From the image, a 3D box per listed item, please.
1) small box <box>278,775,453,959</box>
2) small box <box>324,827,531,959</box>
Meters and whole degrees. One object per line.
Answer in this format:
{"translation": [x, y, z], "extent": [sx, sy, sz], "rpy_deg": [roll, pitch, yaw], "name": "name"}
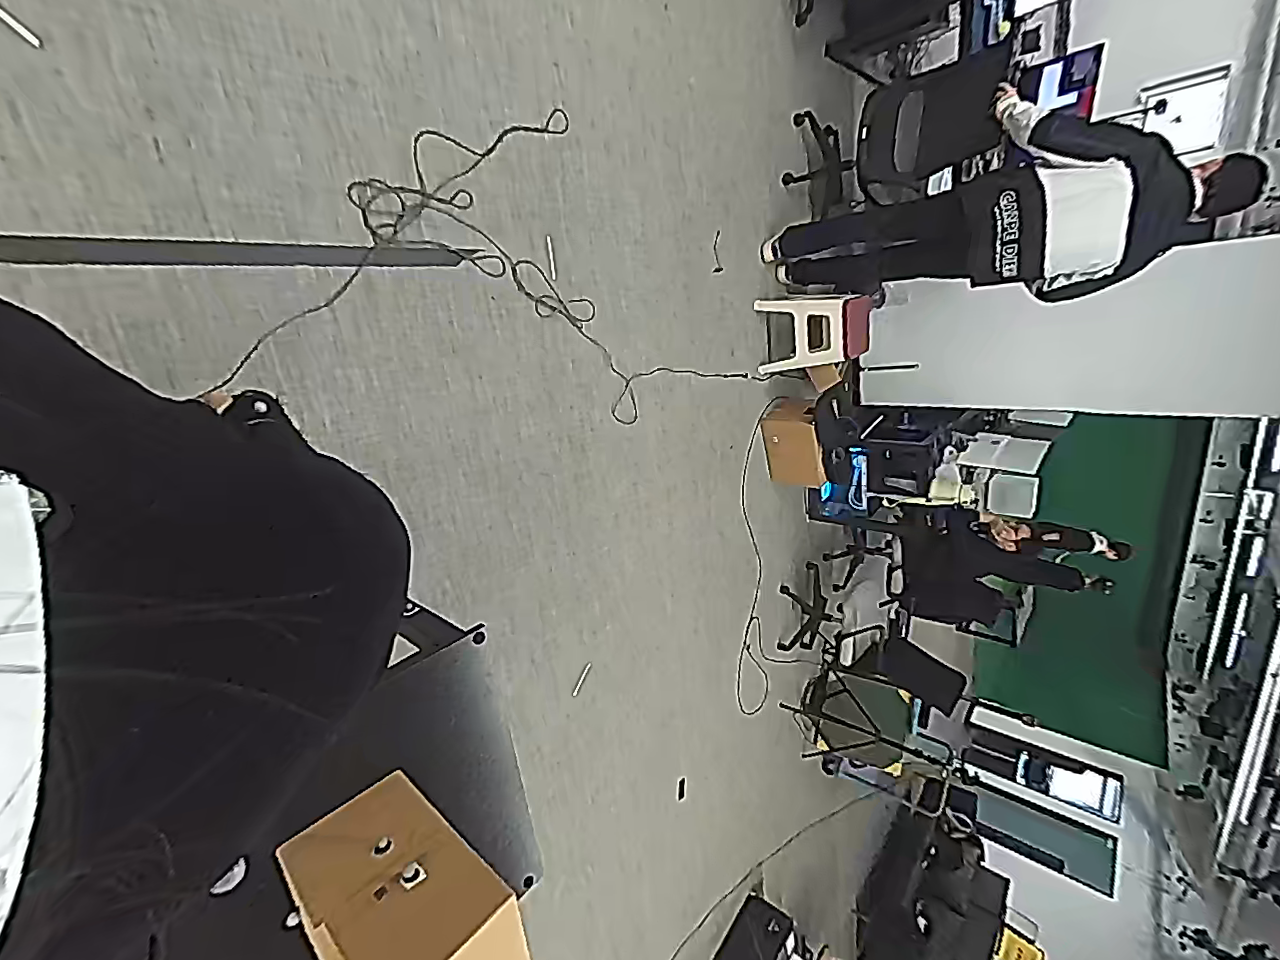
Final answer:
{"translation": [-0.377, 0.567, 0.771], "extent": [0.179, 0.176, 0.168], "rpy_deg": [-22, 112, -44], "name": "small box"}
{"translation": [-0.254, 0.583, 0.665], "extent": [0.168, 0.176, 0.179], "rpy_deg": [-25, 113, -45], "name": "small box"}
